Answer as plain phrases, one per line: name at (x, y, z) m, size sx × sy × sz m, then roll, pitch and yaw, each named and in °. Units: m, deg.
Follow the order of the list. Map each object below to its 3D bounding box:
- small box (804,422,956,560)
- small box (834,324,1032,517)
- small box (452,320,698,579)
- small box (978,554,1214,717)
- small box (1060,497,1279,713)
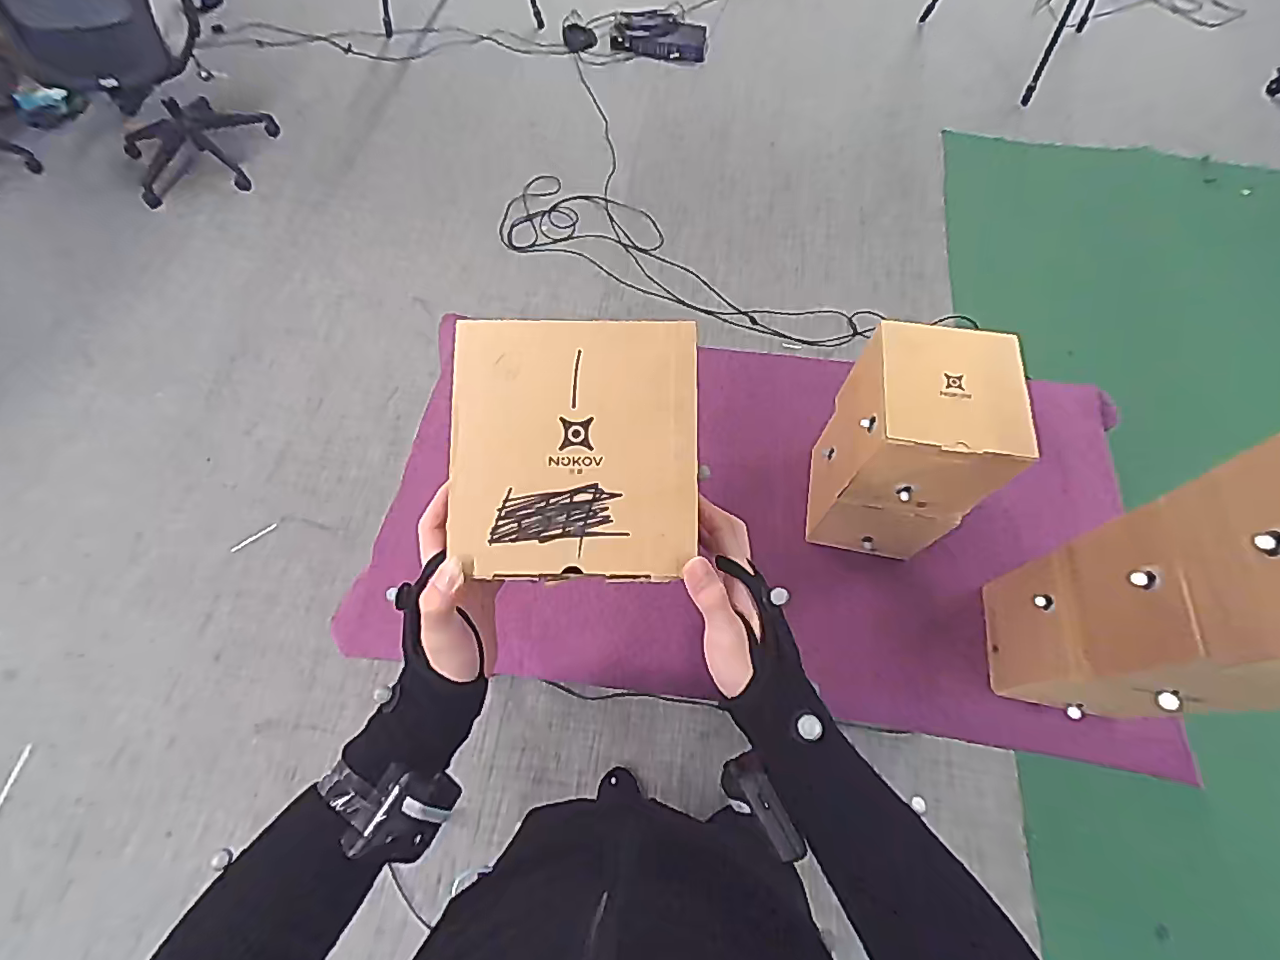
small box at (0.364, 0.006, 0.844) m, size 0.168 × 0.176 × 0.179 m, roll 11°, pitch 65°, yaw 5°
small box at (0.359, -0.070, 0.700) m, size 0.168 × 0.176 × 0.179 m, roll 8°, pitch 65°, yaw 3°
small box at (-0.042, -0.015, 0.443) m, size 0.168 × 0.176 × 0.179 m, roll 0°, pitch 84°, yaw -1°
small box at (0.603, 0.220, 0.740) m, size 0.179 × 0.176 × 0.168 m, roll 11°, pitch 63°, yaw 5°
small box at (0.605, 0.144, 0.595) m, size 0.168 × 0.176 × 0.179 m, roll 10°, pitch 64°, yaw 7°
